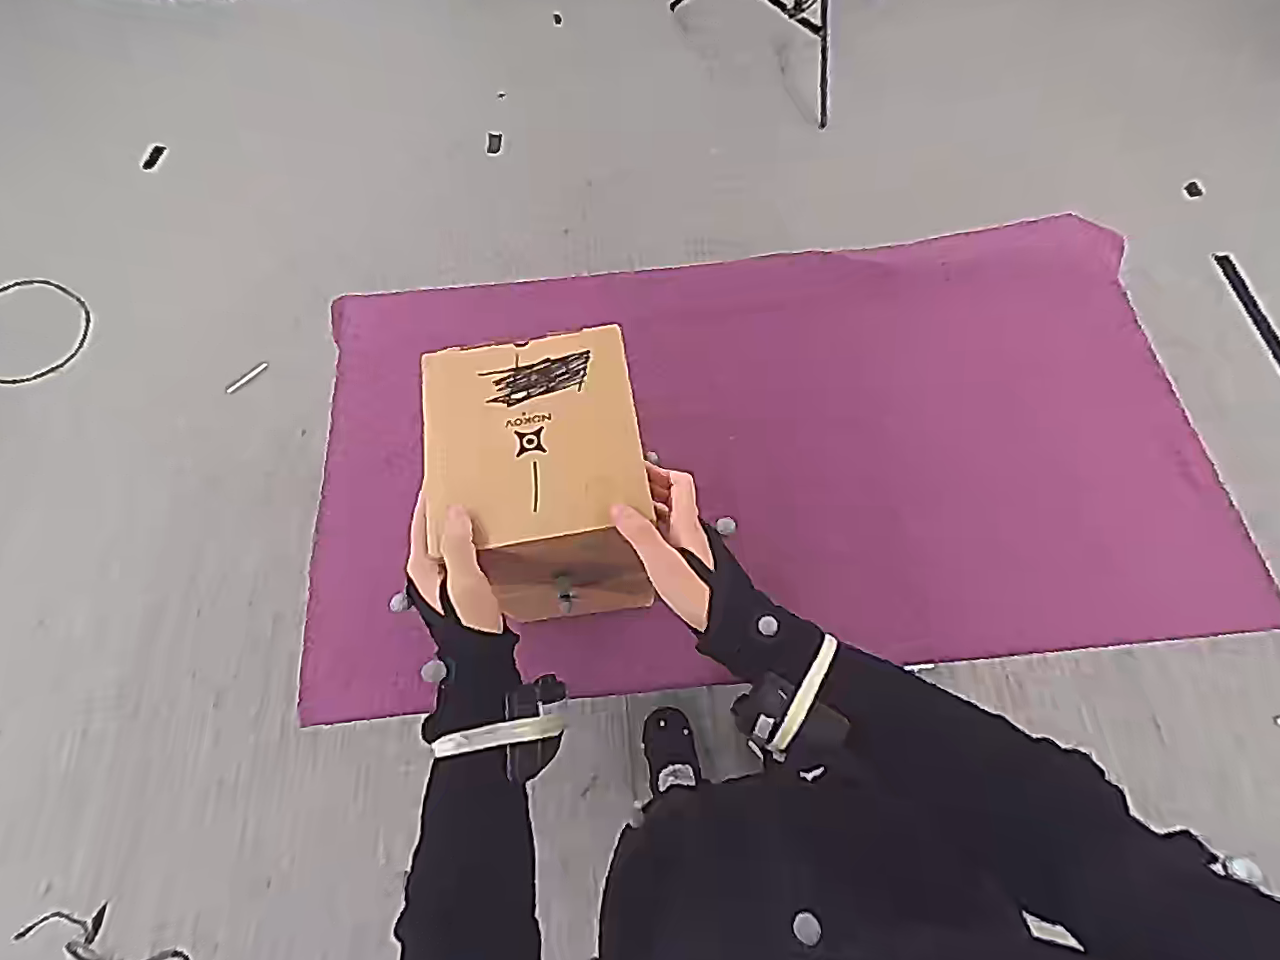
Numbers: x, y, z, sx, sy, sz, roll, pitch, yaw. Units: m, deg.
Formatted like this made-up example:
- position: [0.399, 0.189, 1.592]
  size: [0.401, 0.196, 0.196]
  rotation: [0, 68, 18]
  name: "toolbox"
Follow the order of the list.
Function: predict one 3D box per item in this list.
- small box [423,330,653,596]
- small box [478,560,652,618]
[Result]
- position: [-0.083, -0.006, 0.491]
  size: [0.168, 0.176, 0.179]
  rotation: [-10, 69, -2]
  name: "small box"
- position: [-0.082, 0.063, 0.642]
  size: [0.179, 0.176, 0.168]
  rotation: [-7, 68, -1]
  name: "small box"
